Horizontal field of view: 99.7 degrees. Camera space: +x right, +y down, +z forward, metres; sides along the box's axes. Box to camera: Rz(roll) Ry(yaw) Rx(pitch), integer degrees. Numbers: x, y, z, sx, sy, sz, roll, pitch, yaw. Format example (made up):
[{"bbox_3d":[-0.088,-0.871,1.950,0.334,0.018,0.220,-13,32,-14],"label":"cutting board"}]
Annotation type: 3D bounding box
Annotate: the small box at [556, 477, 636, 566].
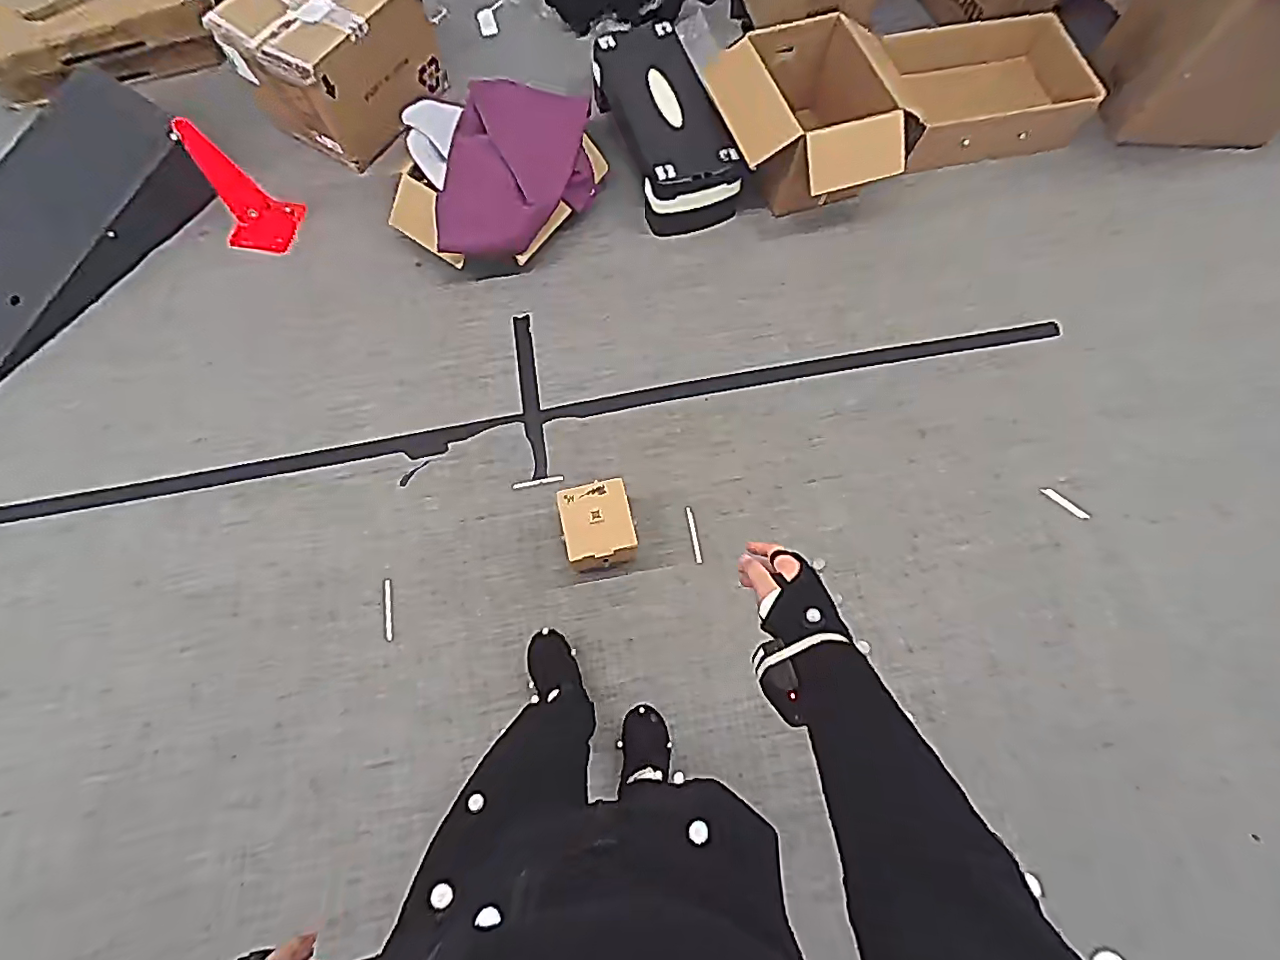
[{"bbox_3d":[-0.105,0.112,1.346,0.168,0.176,0.179,-12,73,-4],"label":"small box"}]
